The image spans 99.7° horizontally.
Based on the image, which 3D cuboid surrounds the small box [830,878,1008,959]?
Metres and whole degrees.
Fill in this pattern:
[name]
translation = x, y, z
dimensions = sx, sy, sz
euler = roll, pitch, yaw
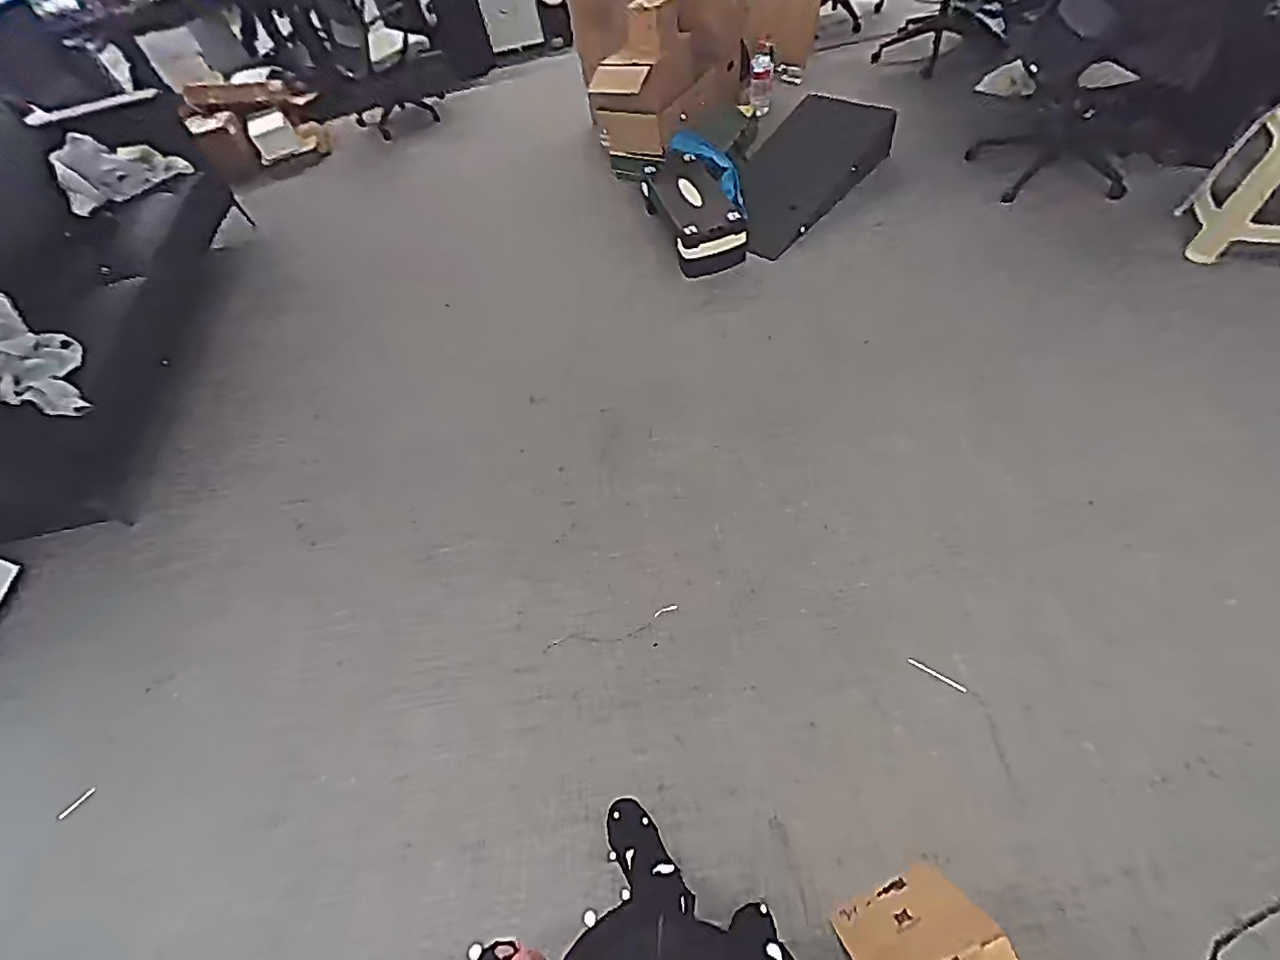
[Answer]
[small box]
translation = 0.370, 0.646, 0.653
dimensions = 0.168, 0.179, 0.176
euler = -25, 77, -7
